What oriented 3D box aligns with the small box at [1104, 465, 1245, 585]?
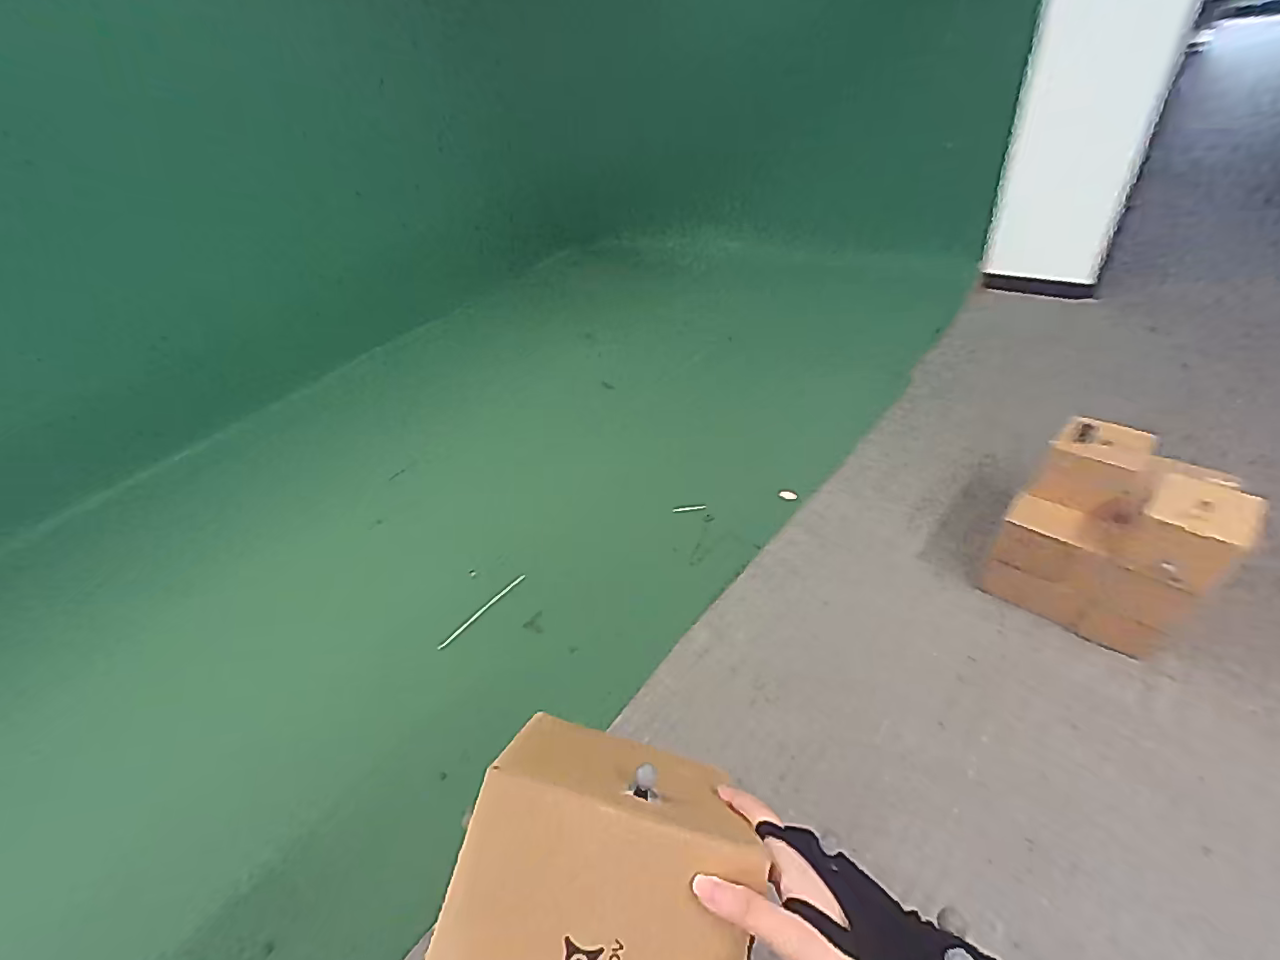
[{"bbox_3d":[1.204,0.101,1.229,0.168,0.176,0.179,28,56,37],"label":"small box"}]
